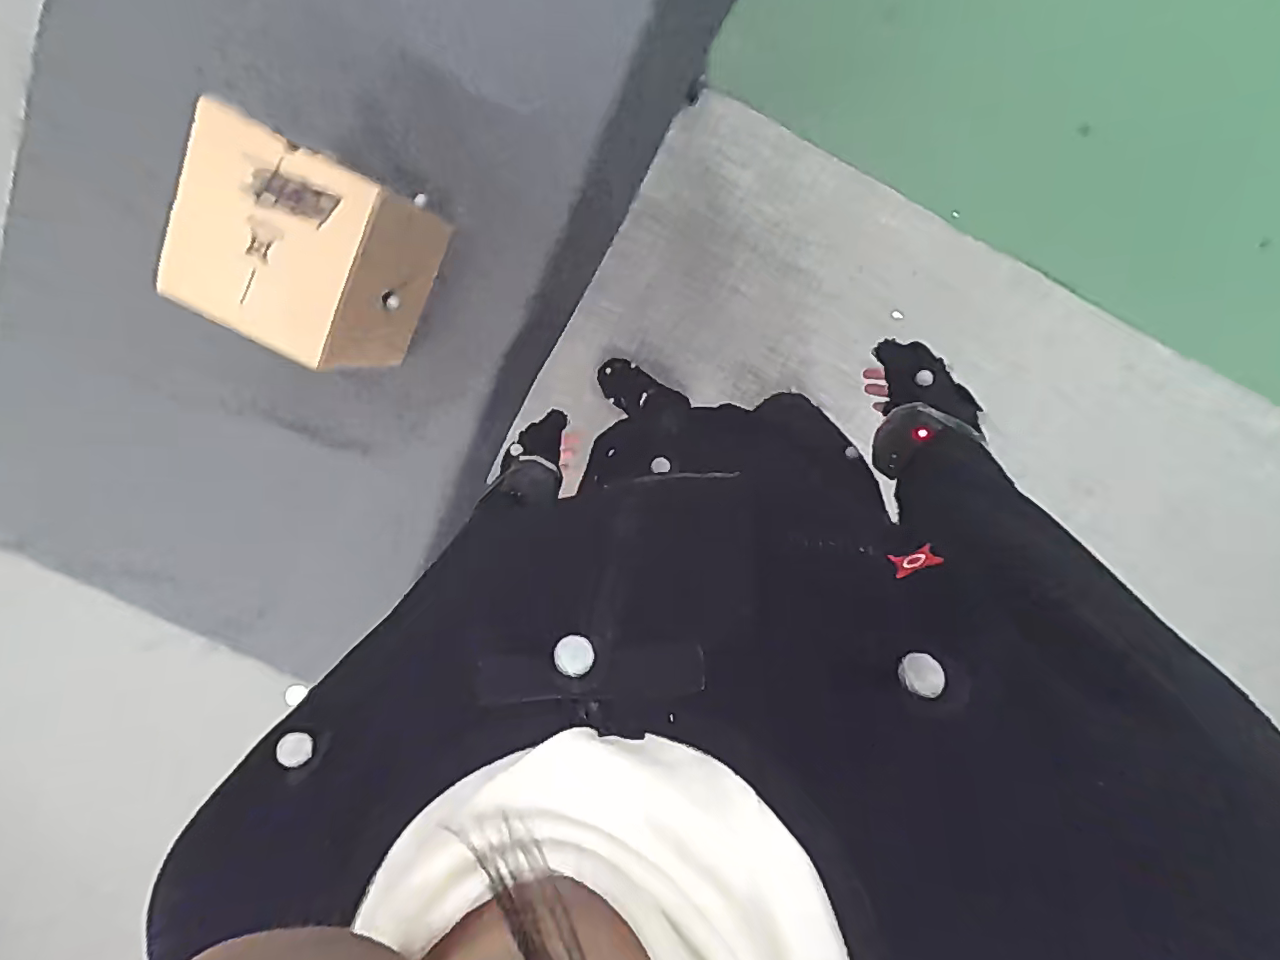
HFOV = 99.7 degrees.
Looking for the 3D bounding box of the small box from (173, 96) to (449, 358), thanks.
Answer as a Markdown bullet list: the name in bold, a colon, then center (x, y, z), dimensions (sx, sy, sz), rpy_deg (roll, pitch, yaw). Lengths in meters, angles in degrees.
- **small box**: center (-0.323, -0.241, 0.566), dimensions (0.168, 0.176, 0.179), rpy_deg (23, 103, -3)
